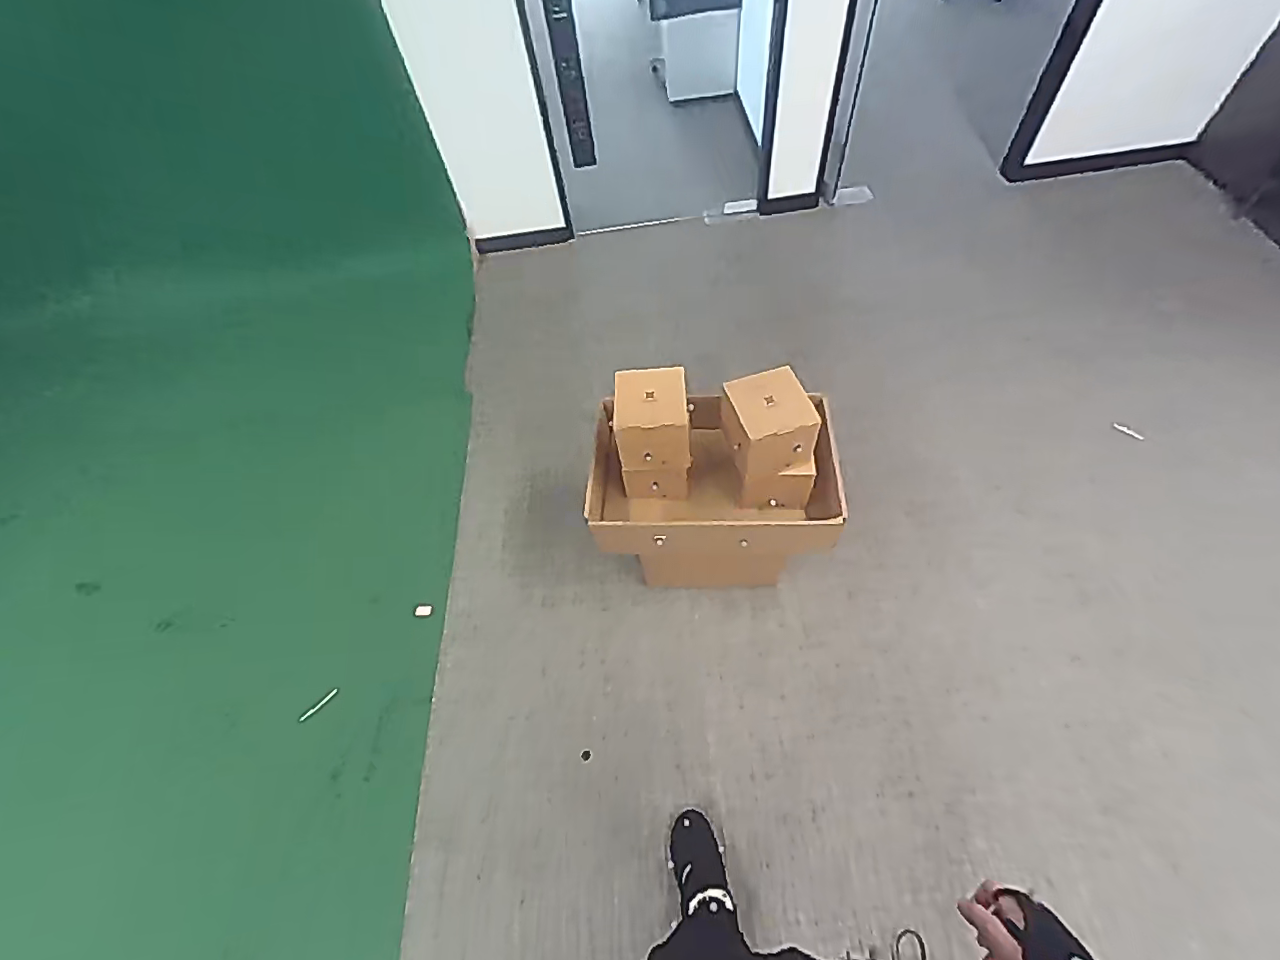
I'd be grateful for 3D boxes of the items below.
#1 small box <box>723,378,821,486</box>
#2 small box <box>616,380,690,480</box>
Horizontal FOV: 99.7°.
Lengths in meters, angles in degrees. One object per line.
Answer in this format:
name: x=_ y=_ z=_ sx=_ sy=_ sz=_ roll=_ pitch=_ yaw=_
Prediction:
small box: x=0.298 y=-0.103 z=1.259 sx=0.168 sy=0.176 sz=0.179 roll=-15 pitch=54 yaw=-4
small box: x=0.034 y=-0.118 z=1.305 sx=0.168 sy=0.176 sz=0.179 roll=-3 pitch=55 yaw=5
